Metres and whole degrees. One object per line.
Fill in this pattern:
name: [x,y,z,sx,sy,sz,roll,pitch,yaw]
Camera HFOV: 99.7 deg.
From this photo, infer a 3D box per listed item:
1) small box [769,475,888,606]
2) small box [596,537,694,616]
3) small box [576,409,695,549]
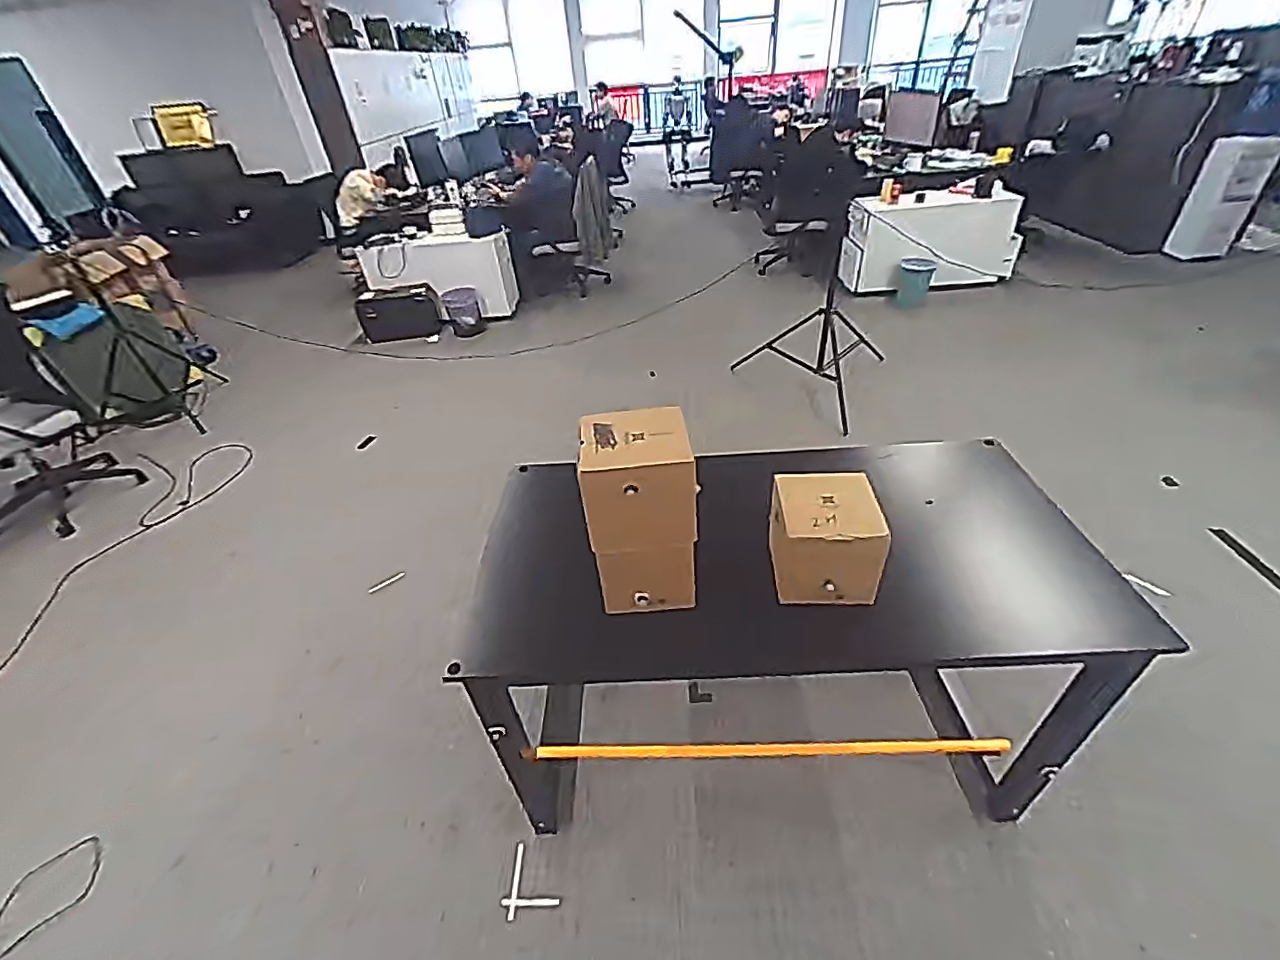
small box: [0.332,0.108,0.994,0.168,0.176,0.179,-1,38,6]
small box: [0.009,0.129,1.011,0.168,0.176,0.179,-6,38,0]
small box: [-0.006,0.001,0.908,0.179,0.176,0.168,-6,37,-1]
